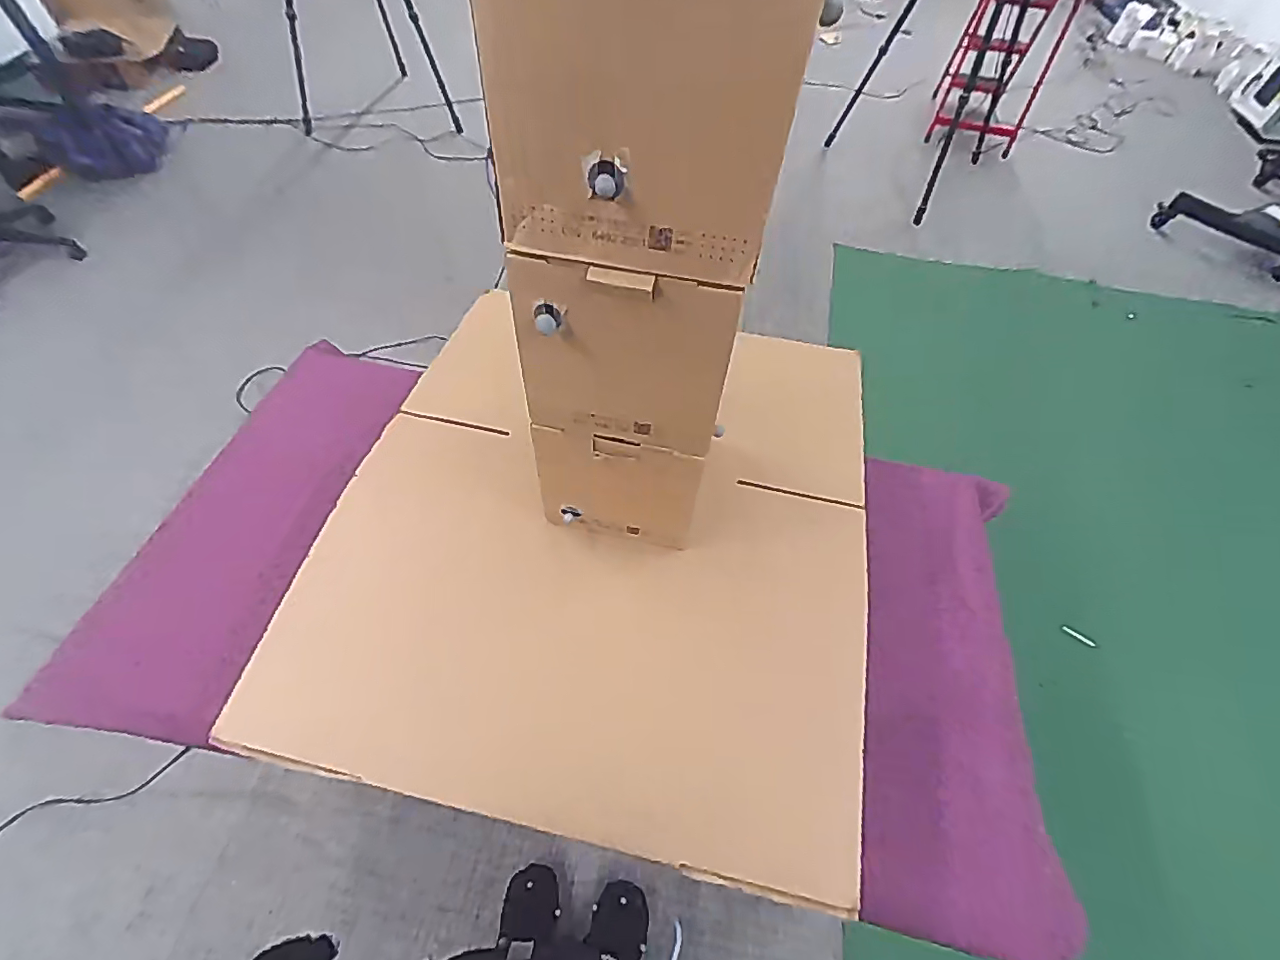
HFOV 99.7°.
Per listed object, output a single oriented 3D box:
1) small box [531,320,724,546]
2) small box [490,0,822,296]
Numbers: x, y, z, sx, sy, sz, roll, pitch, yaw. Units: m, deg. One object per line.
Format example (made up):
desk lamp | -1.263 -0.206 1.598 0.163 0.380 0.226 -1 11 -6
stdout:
small box | -0.008 -0.048 0.608 0.168 0.176 0.179 12 53 5
small box | 0.011 -0.250 0.352 0.168 0.176 0.179 10 53 3
